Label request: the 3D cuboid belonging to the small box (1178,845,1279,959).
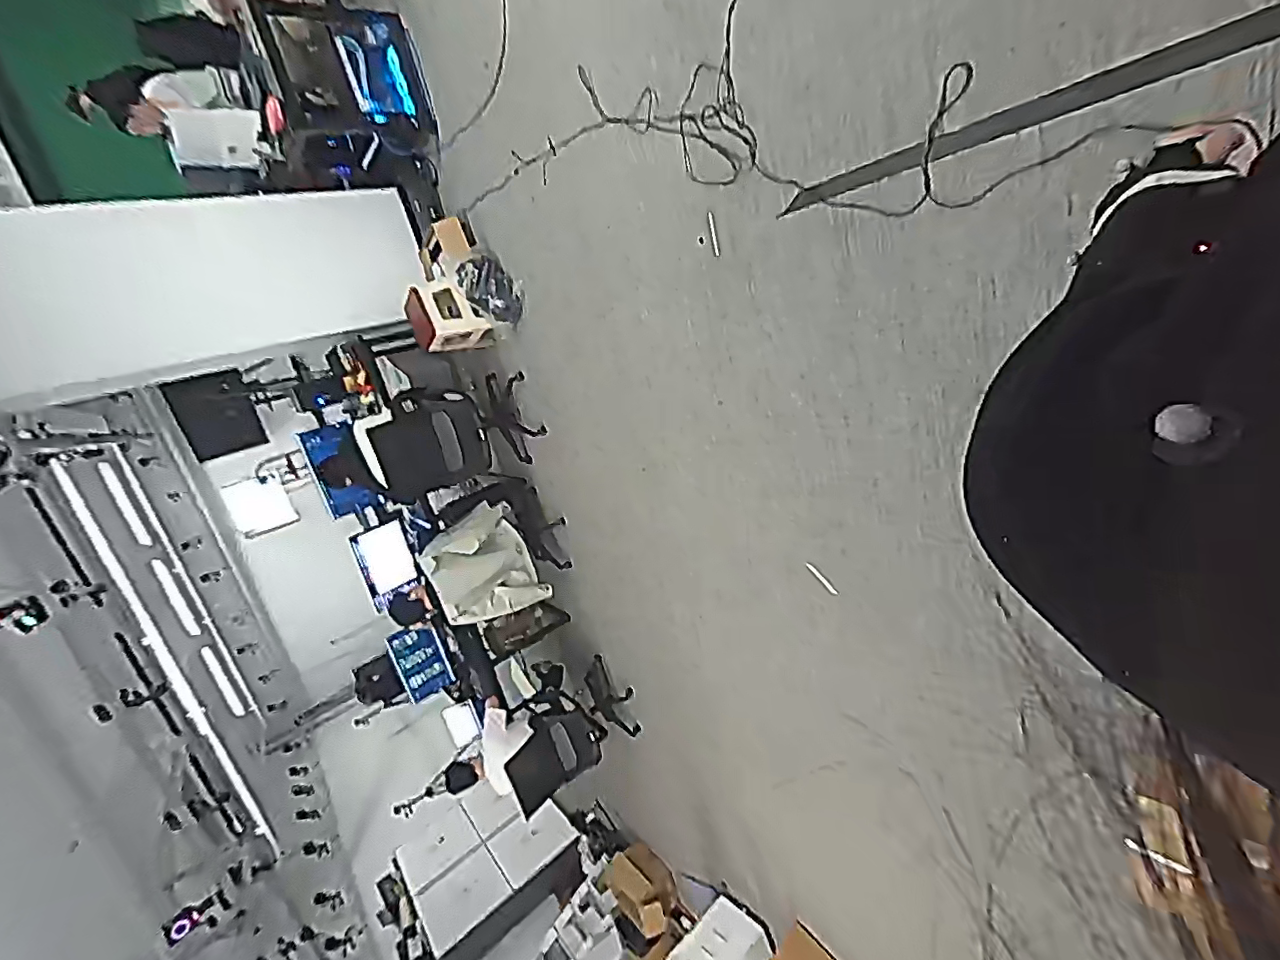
[{"bbox_3d":[1.166,0.854,1.030,0.179,0.176,0.168,7,116,53],"label":"small box"}]
